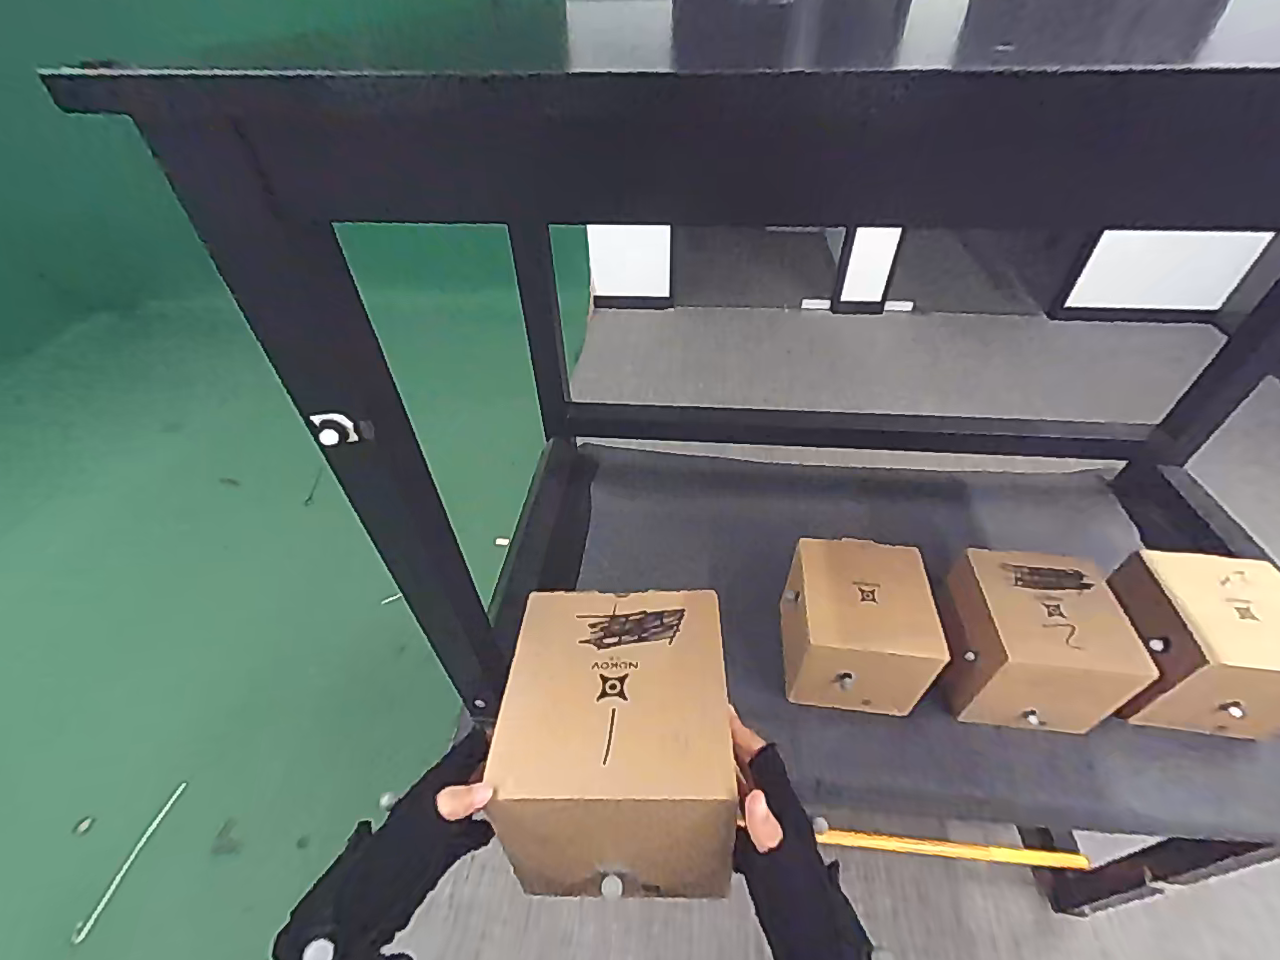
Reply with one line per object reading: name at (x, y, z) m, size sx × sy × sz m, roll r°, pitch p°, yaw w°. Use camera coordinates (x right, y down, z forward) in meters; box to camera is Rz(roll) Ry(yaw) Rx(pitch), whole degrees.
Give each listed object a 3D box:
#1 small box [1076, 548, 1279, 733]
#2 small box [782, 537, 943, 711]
small box at (0.749, 0.218, 0.732) m, size 0.168 × 0.176 × 0.179 m, roll 5°, pitch 43°, yaw 7°
small box at (0.298, 0.205, 0.768) m, size 0.168 × 0.176 × 0.179 m, roll 4°, pitch 43°, yaw 7°
